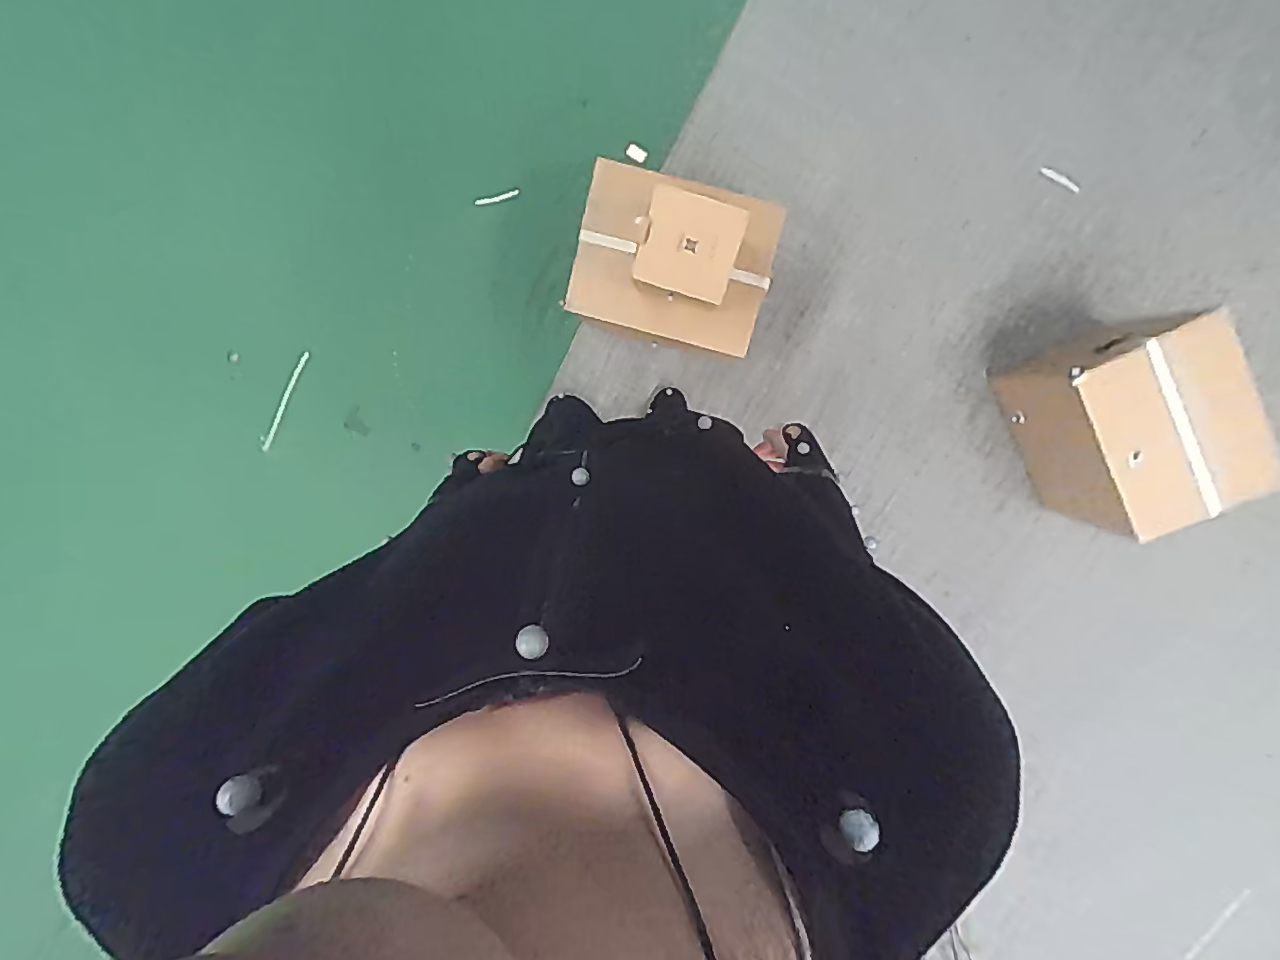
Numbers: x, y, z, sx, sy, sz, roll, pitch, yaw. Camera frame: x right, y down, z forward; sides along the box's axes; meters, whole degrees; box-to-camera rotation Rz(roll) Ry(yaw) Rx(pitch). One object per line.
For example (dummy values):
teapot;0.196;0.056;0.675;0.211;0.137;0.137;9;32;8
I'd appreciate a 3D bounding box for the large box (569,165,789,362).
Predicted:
large box;0.090;-0.475;1.265;0.408;0.320;0.320;16;100;2

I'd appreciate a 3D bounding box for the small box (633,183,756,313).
small box;0.100;-0.425;1.023;0.179;0.176;0.168;18;103;0
